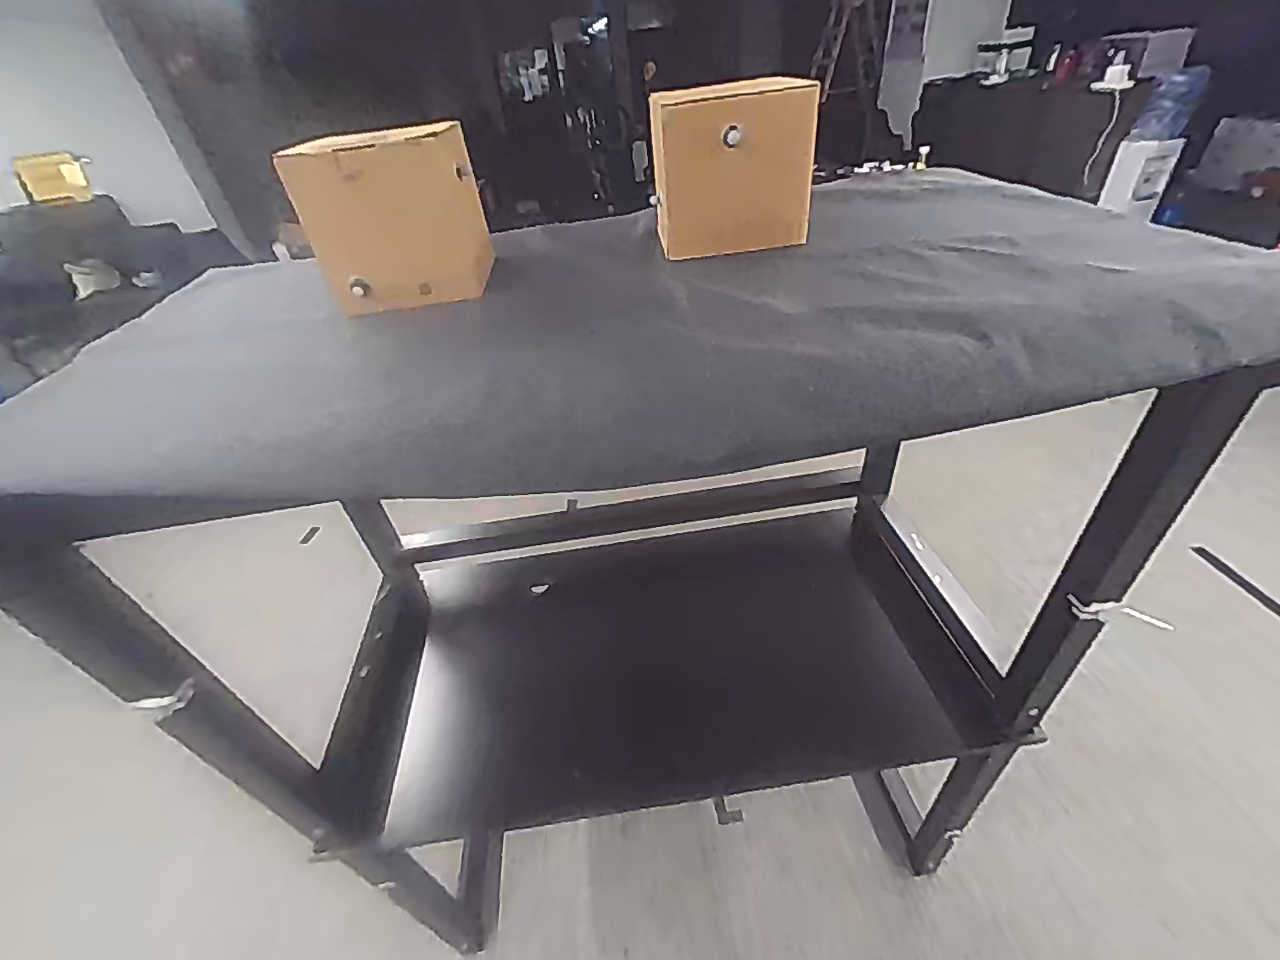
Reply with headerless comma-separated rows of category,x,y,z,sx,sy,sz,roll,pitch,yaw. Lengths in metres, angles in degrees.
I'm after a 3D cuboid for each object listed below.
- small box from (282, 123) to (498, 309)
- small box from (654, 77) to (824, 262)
small box,-0.281,-0.318,0.659,0.168,0.176,0.179,-9,37,-1
small box,0.116,-0.394,0.688,0.179,0.176,0.168,-7,38,2
